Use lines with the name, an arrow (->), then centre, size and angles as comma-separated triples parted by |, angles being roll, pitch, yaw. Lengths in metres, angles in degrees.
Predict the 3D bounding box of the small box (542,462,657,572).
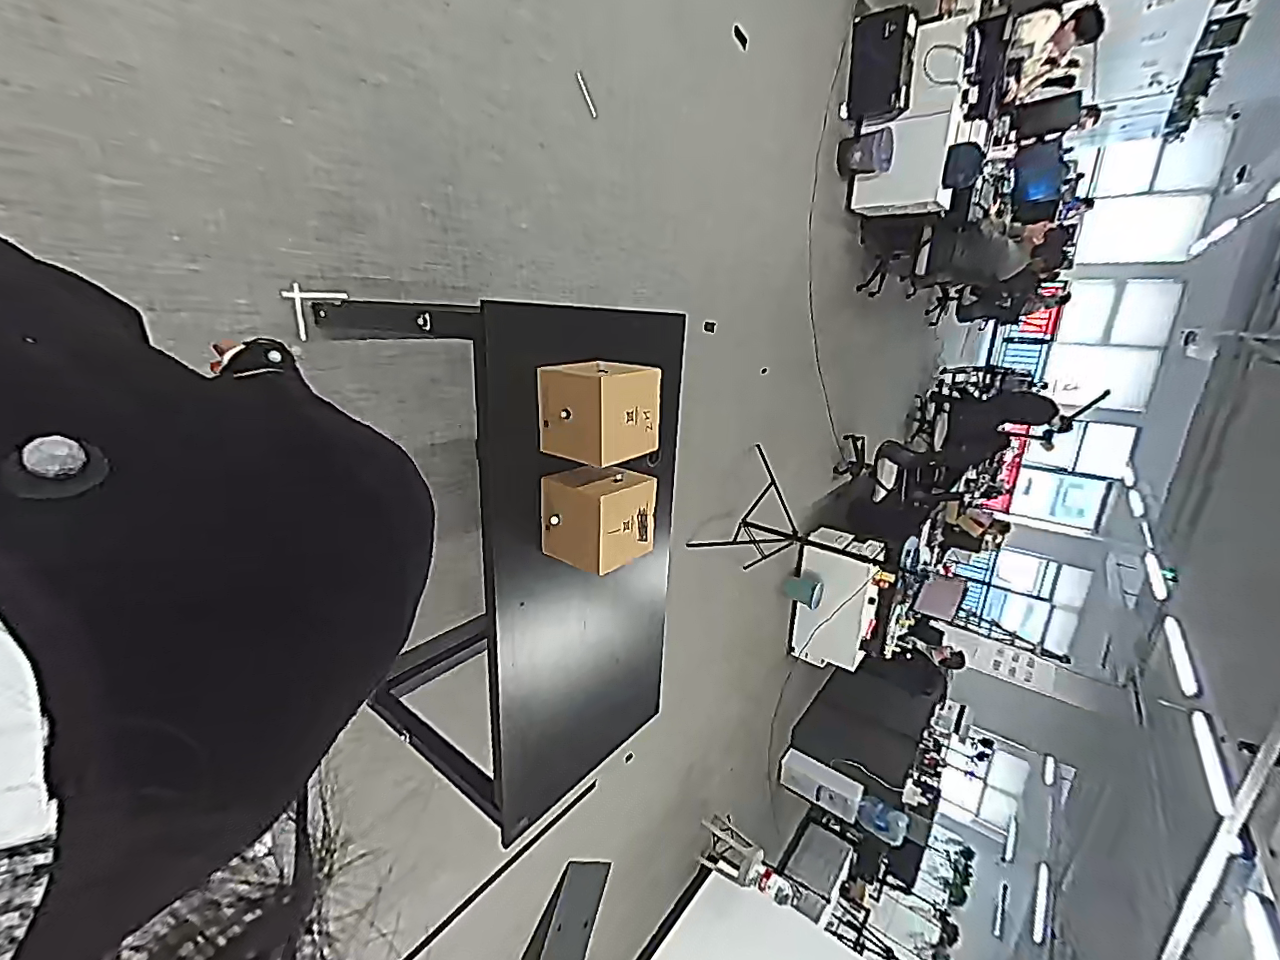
small box -> -0.085, 0.068, 1.132 | 0.179, 0.176, 0.168 | -18, 116, -49
